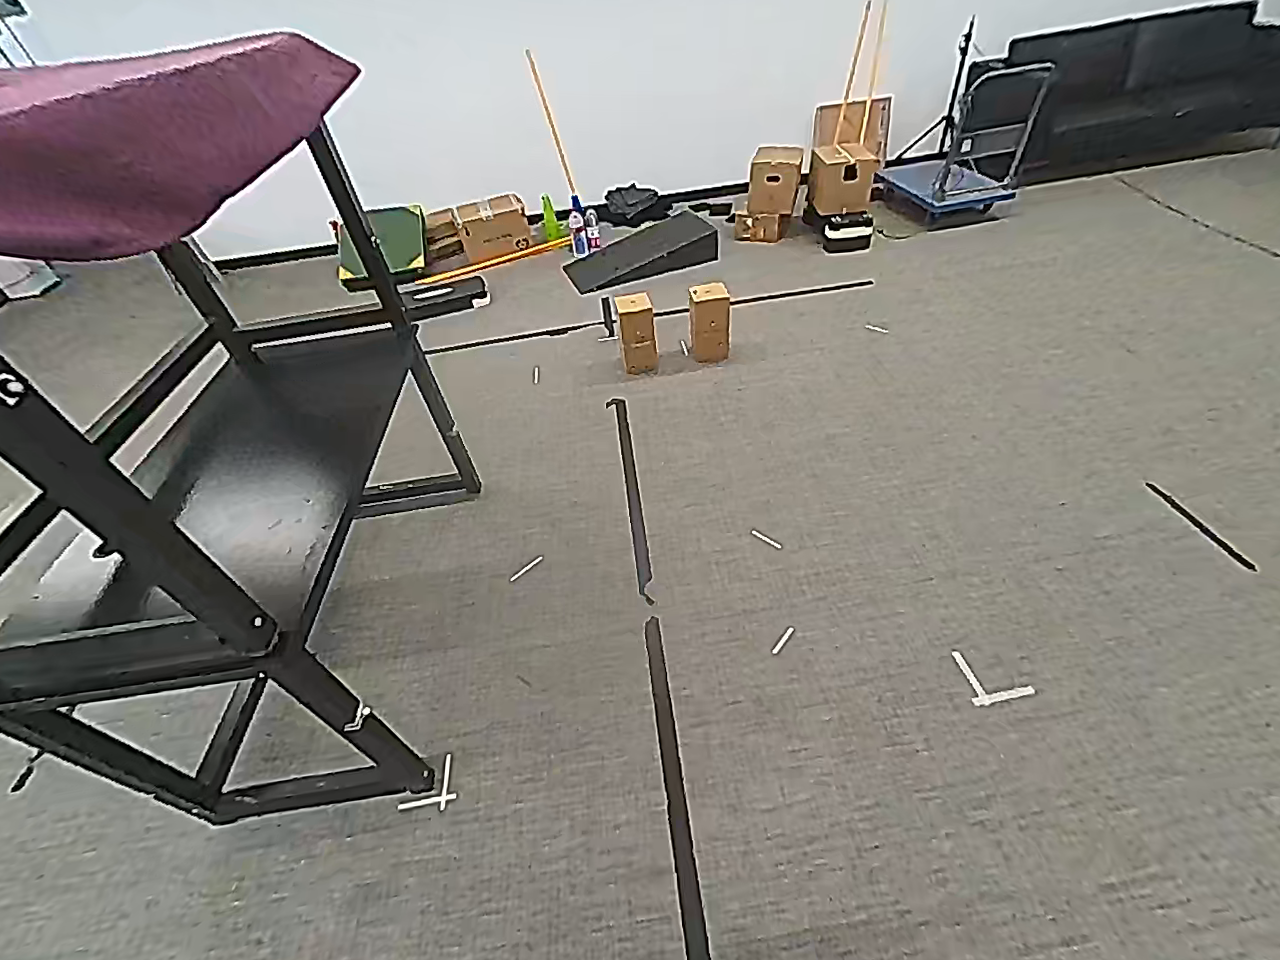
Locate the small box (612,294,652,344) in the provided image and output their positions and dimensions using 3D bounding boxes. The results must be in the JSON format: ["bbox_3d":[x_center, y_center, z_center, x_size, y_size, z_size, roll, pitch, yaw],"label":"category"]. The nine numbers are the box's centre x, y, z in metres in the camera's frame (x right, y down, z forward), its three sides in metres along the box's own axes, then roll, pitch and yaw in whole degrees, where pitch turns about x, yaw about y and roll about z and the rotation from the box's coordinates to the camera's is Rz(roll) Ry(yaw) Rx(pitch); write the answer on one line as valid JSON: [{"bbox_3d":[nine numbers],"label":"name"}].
[{"bbox_3d":[-0.040,-0.794,2.666,0.168,0.176,0.179,-11,44,-4],"label":"small box"}]

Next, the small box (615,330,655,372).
[{"bbox_3d":[-0.025,-0.670,2.773,0.168,0.176,0.179,-12,43,-5],"label":"small box"}]

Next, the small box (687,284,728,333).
[{"bbox_3d":[0.329,-0.848,2.675,0.179,0.176,0.168,-8,43,-1],"label":"small box"}]

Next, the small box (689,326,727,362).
[{"bbox_3d":[0.346,-0.728,2.786,0.179,0.176,0.168,-7,43,1],"label":"small box"}]
